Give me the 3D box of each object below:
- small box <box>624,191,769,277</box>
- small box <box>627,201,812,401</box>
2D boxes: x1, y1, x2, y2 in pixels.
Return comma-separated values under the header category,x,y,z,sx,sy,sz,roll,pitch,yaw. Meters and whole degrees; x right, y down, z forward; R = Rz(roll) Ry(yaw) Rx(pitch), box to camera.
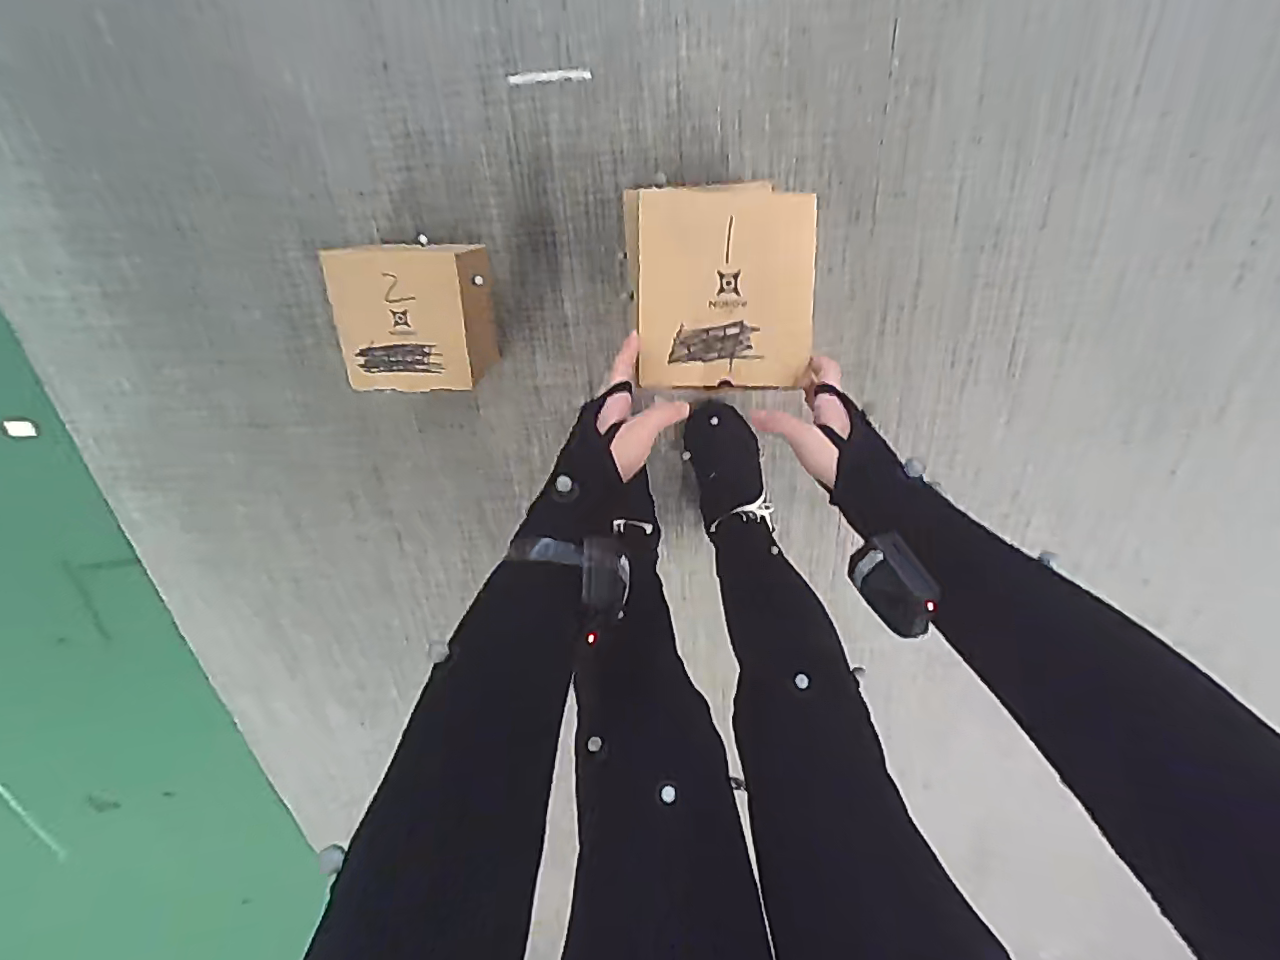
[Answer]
category,x,y,z,sx,sy,sz,roll,pitch,yaw
small box,0.071,-0.302,0.753,0.179,0.176,0.168,-3,116,0
small box,0.074,-0.177,0.589,0.168,0.176,0.179,-1,95,-5
